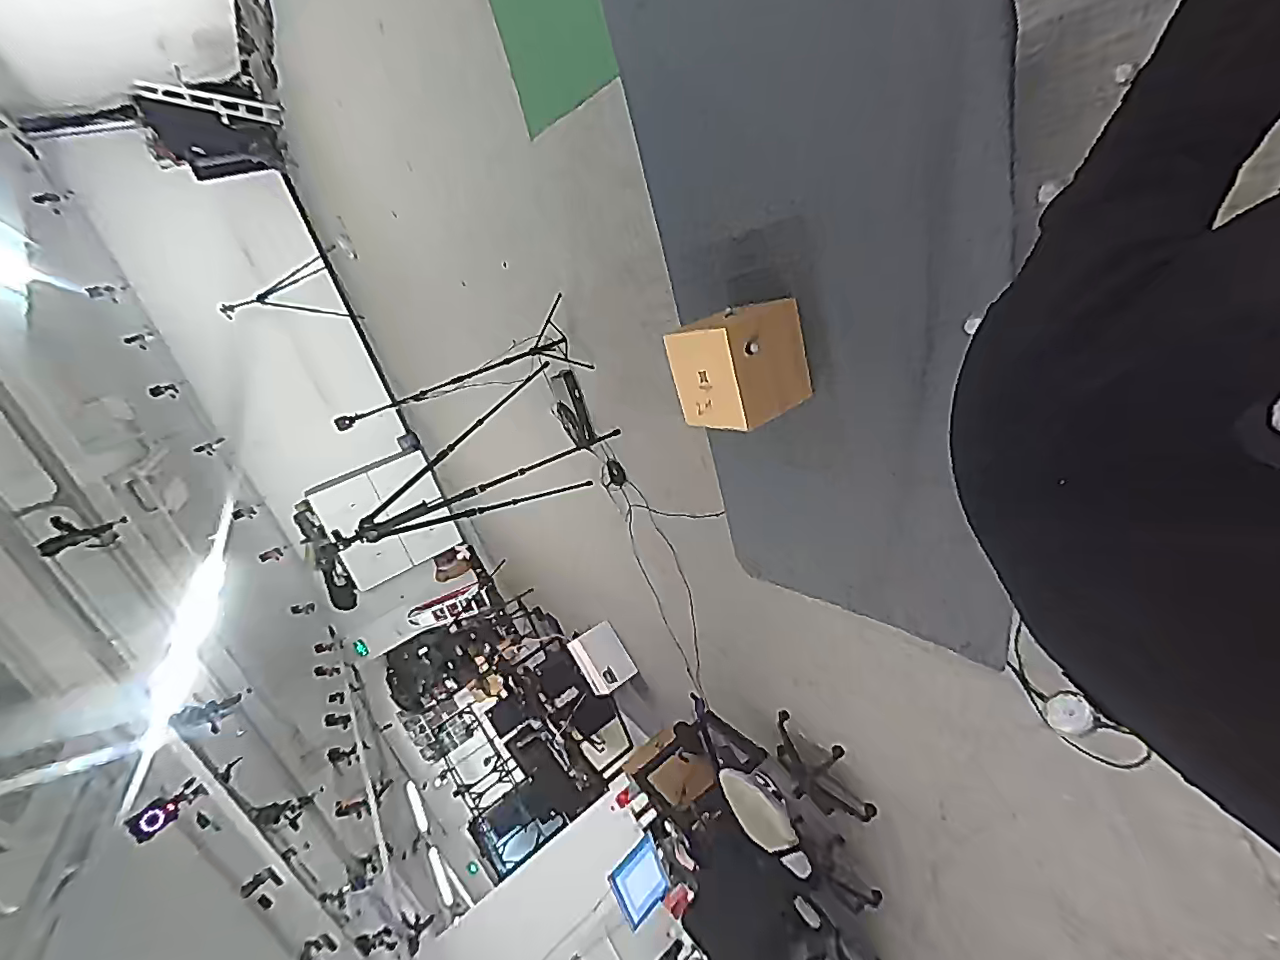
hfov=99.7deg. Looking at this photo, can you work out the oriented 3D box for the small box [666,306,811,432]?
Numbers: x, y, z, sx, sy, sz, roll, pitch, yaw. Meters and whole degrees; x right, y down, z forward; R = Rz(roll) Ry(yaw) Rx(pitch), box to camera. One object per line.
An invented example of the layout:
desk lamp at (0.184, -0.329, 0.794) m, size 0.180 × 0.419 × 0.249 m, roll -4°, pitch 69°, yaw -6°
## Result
small box at (0.177, -0.201, 0.960) m, size 0.168 × 0.176 × 0.179 m, roll 15°, pitch 128°, yaw 56°
